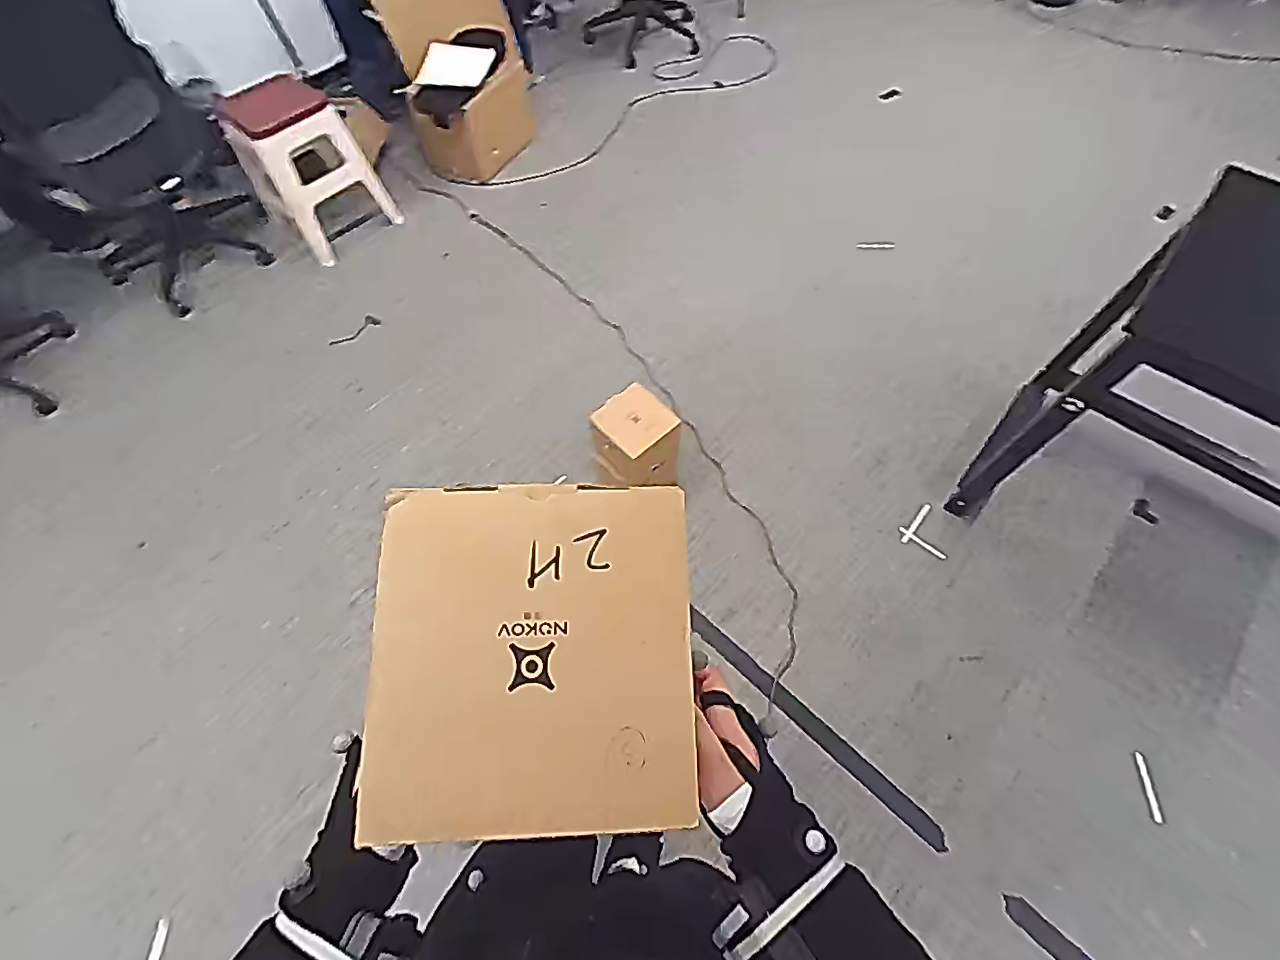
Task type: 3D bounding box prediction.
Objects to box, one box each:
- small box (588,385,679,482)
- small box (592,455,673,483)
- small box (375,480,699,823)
[{"bbox_3d":[-0.017,-0.110,1.431,0.168,0.176,0.179,-40,69,-17],"label":"small box"},{"bbox_3d":[-0.015,-0.026,1.572,0.168,0.176,0.179,38,69,20],"label":"small box"},{"bbox_3d":[-0.054,0.105,0.366,0.168,0.176,0.179,0,74,-4],"label":"small box"}]
